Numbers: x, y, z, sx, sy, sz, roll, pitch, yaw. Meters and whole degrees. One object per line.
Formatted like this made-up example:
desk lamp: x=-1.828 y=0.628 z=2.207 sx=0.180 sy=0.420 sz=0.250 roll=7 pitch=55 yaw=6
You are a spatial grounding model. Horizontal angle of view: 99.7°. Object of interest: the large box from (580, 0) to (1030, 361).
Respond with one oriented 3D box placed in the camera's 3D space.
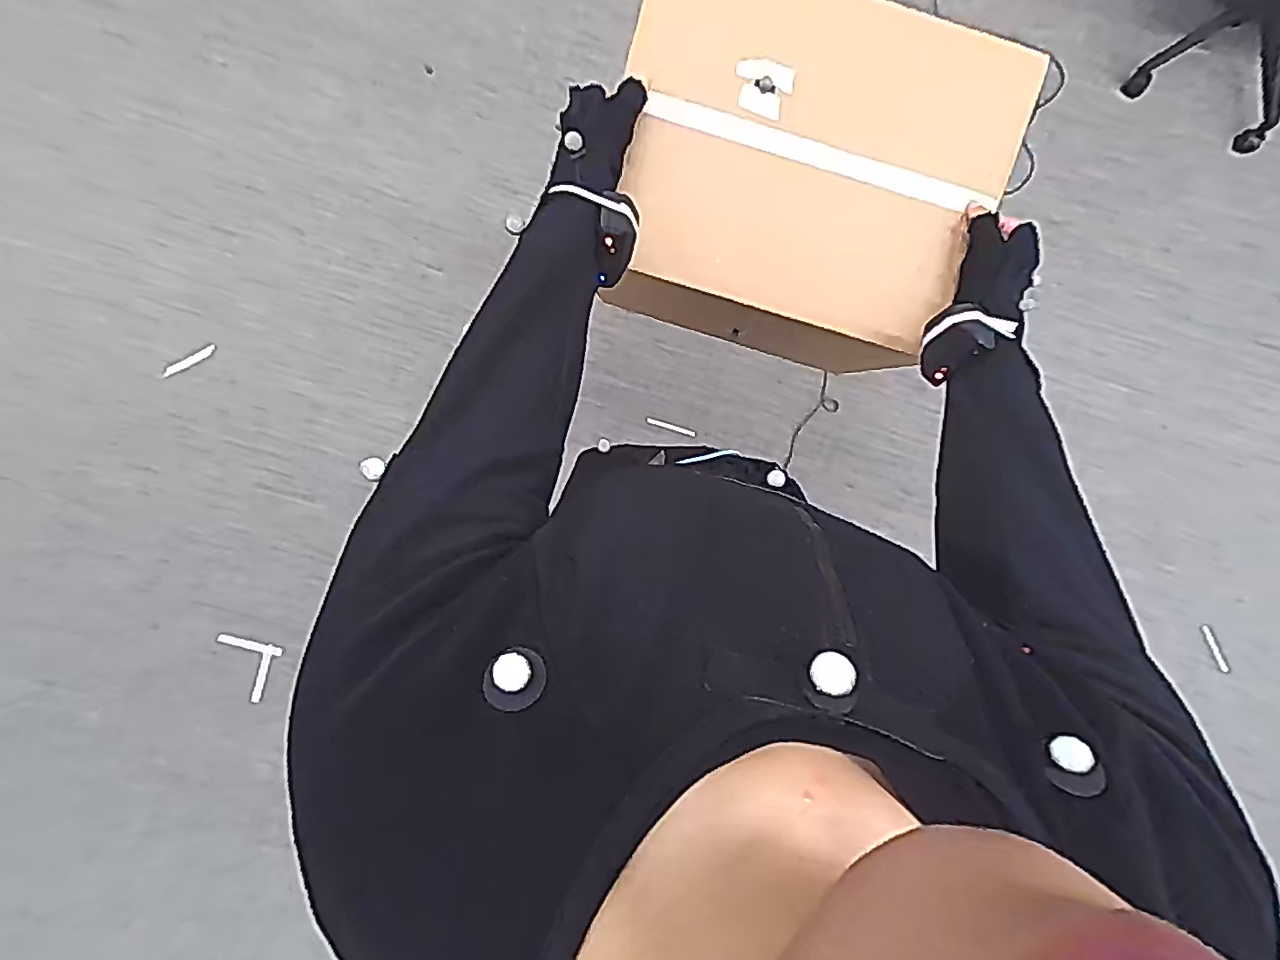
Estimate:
large box: x=0.168 y=-0.361 z=0.709 sx=0.408 sy=0.320 sz=0.320 roll=16 pitch=98 yaw=-2
